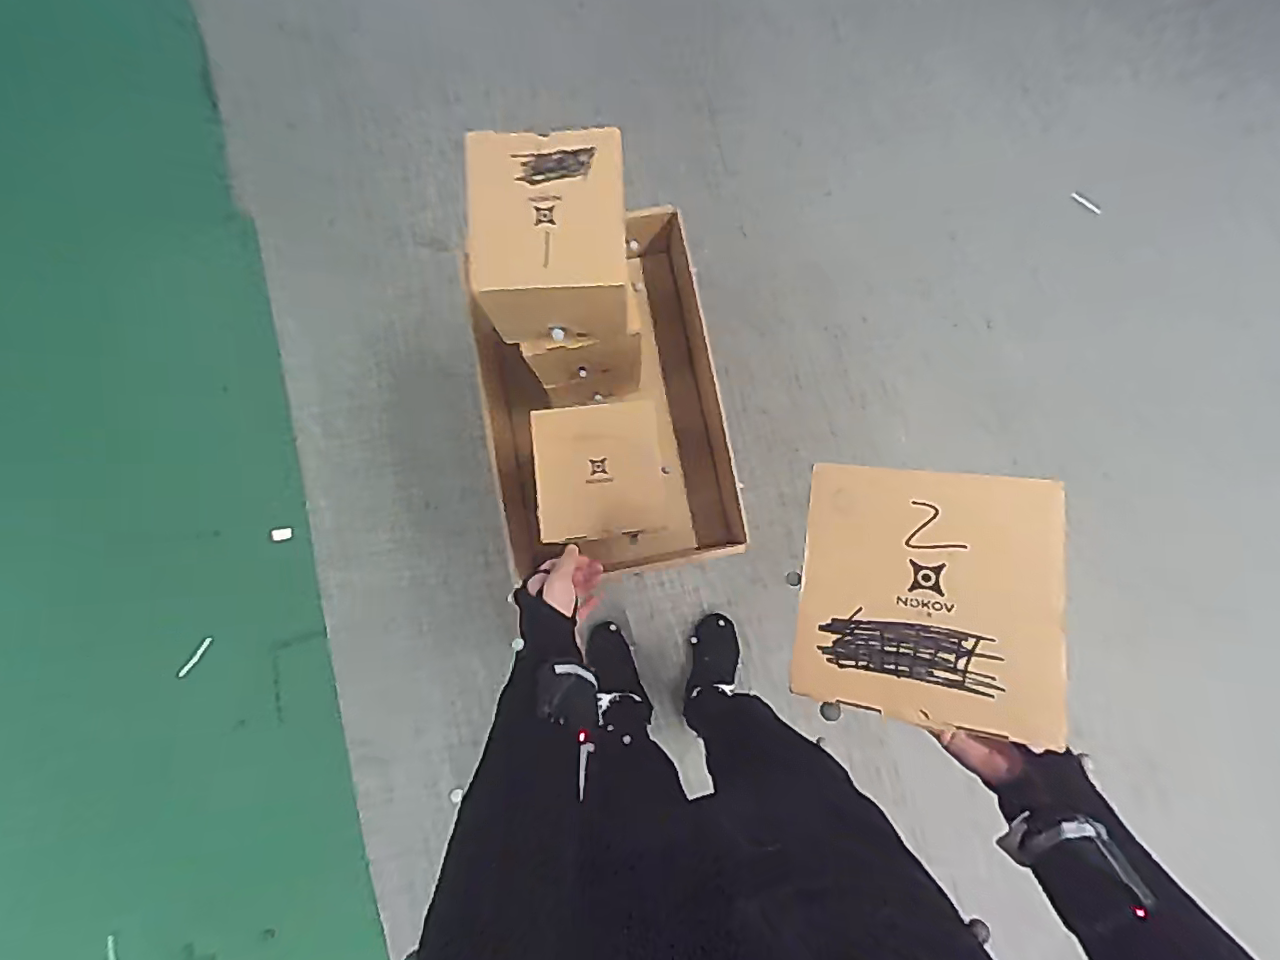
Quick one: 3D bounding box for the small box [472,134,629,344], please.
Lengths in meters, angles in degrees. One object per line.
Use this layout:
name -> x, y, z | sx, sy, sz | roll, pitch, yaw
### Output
small box -> -0.098, -0.278, 0.655 | 0.168, 0.176, 0.179 | -2, 85, 0

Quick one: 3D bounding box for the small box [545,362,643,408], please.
small box -> -0.091, -0.244, 0.979 | 0.168, 0.176, 0.179 | -12, 84, 0

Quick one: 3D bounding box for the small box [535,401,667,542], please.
small box -> -0.051, -0.004, 0.784 | 0.168, 0.176, 0.179 | -5, 83, -1

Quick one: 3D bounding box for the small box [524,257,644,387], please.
small box -> -0.092, -0.258, 0.818 | 0.168, 0.176, 0.179 | -12, 85, -1
